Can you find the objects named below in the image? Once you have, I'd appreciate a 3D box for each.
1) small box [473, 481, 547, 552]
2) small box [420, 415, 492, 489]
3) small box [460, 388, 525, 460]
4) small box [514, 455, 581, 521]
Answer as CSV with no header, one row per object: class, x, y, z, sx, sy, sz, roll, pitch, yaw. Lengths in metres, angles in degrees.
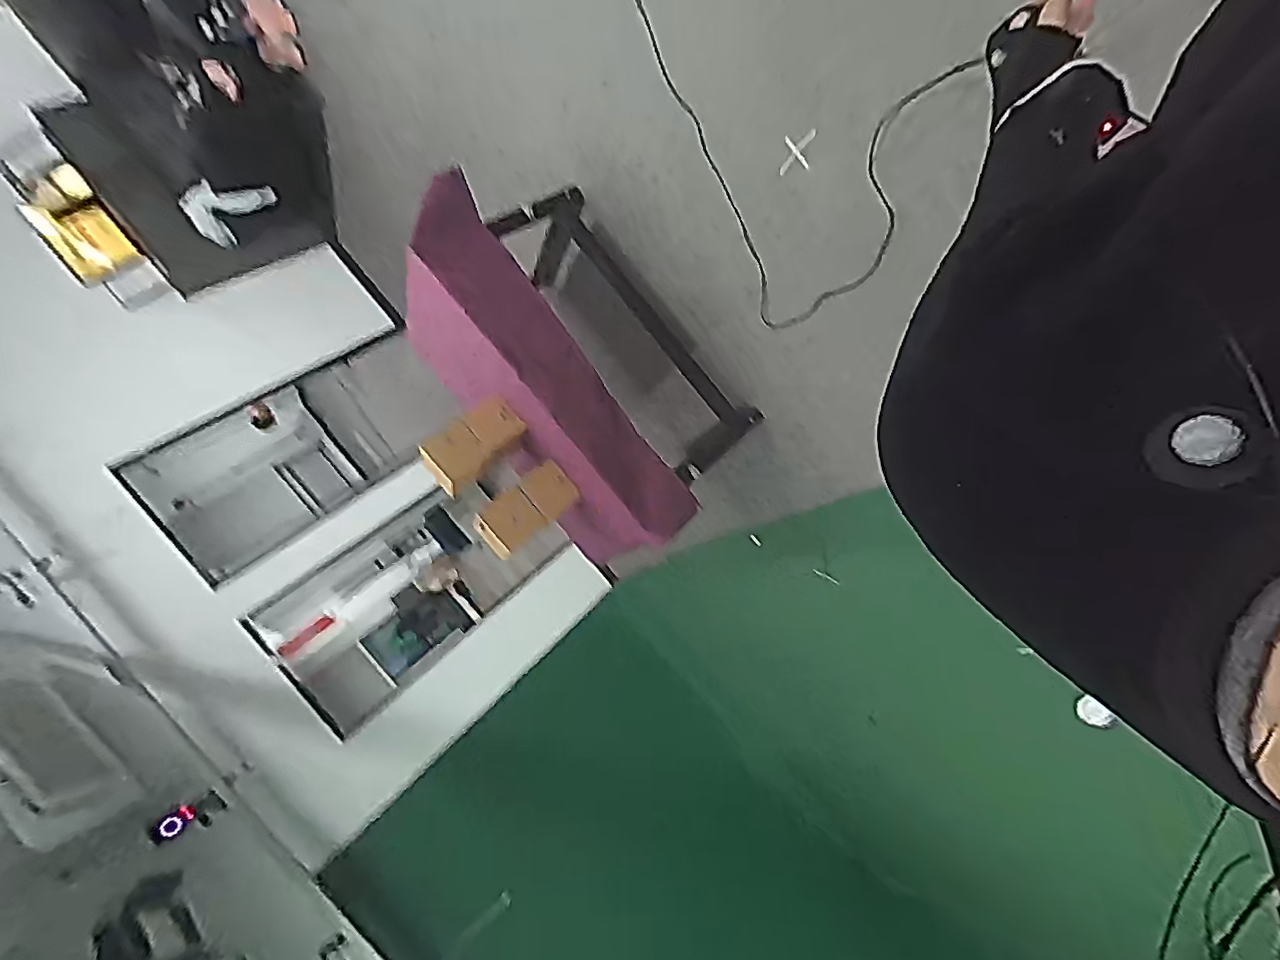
small box,-0.458,0.122,1.902,0.179,0.176,0.168,49,151,-1
small box,-0.646,-0.105,1.896,0.179,0.176,0.168,47,152,2
small box,-0.540,-0.200,1.977,0.168,0.176,0.179,47,151,4
small box,-0.347,0.028,1.980,0.179,0.176,0.168,50,152,0
